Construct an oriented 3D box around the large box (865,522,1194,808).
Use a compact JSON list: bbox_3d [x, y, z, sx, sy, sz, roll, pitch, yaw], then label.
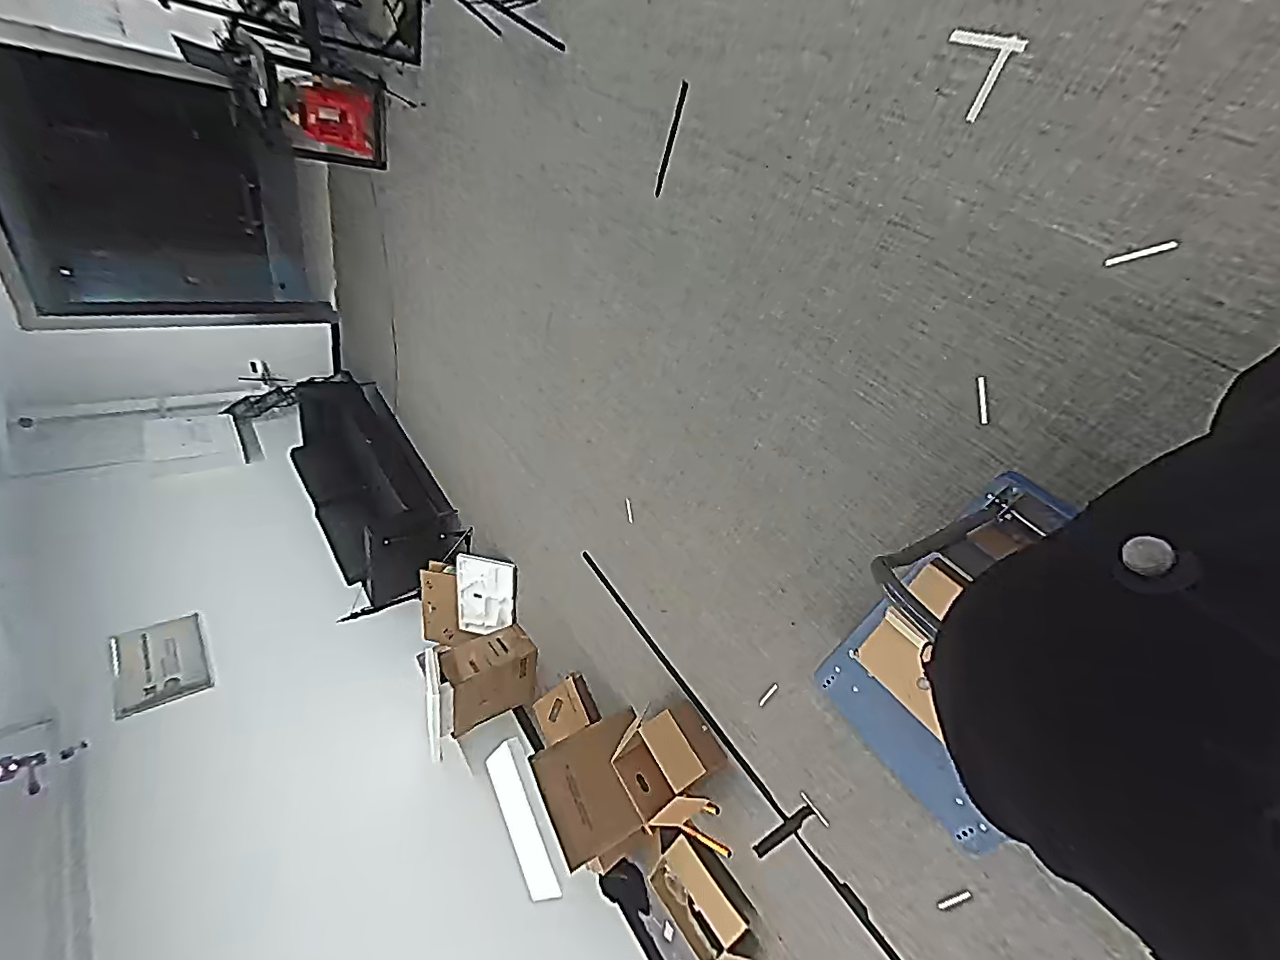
[{"bbox_3d":[0.776,0.351,1.117,0.408,0.320,0.320,46,133,34],"label":"large box"}]
